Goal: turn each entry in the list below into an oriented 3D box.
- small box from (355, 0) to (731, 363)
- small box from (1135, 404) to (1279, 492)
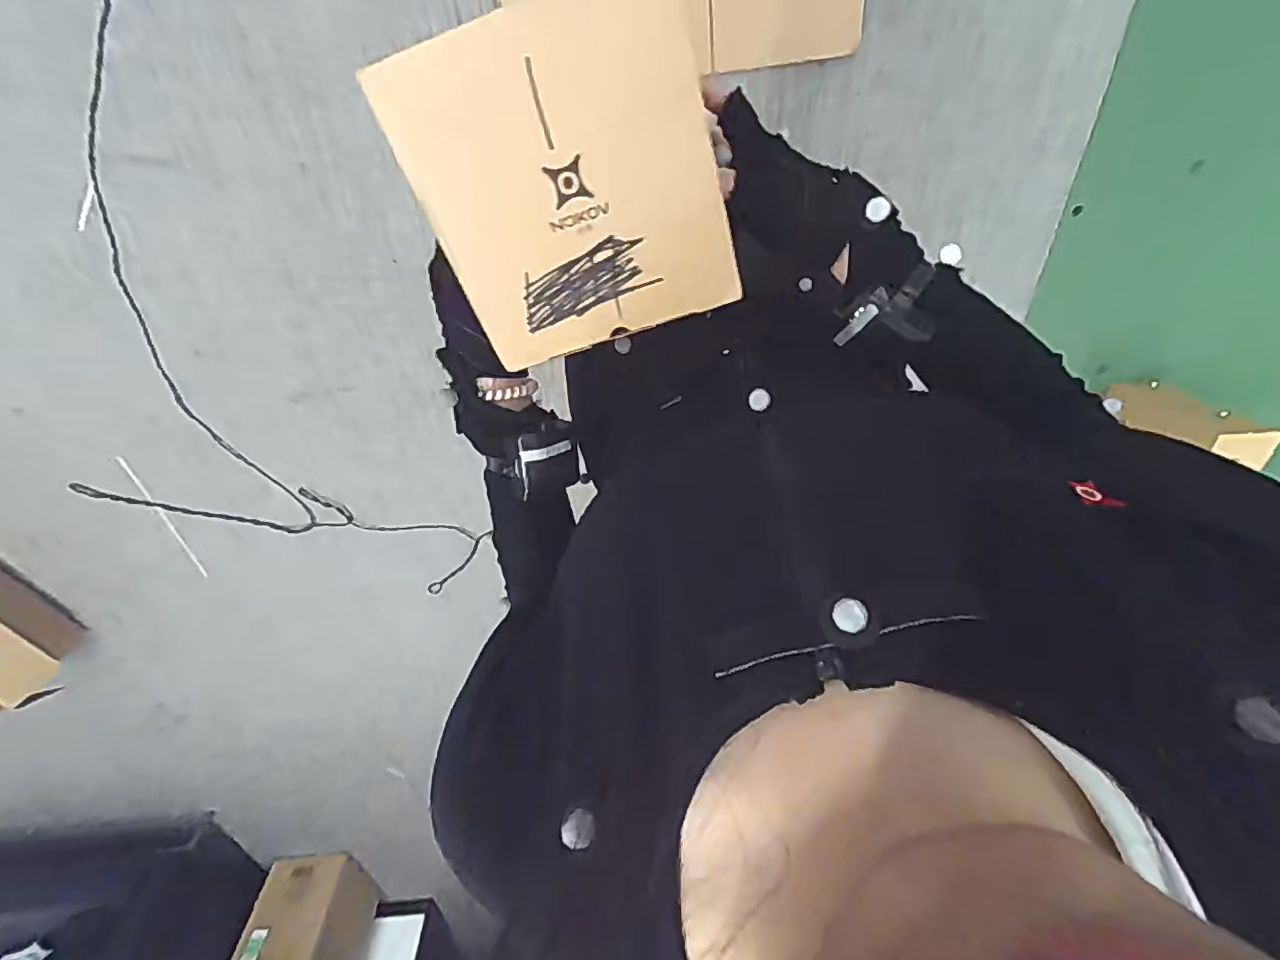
[{"bbox_3d":[-0.044,-0.213,0.372,0.168,0.176,0.179,-15,126,10],"label":"small box"},{"bbox_3d":[1.445,-0.089,1.389,0.168,0.176,0.179,-2,124,-1],"label":"small box"}]
